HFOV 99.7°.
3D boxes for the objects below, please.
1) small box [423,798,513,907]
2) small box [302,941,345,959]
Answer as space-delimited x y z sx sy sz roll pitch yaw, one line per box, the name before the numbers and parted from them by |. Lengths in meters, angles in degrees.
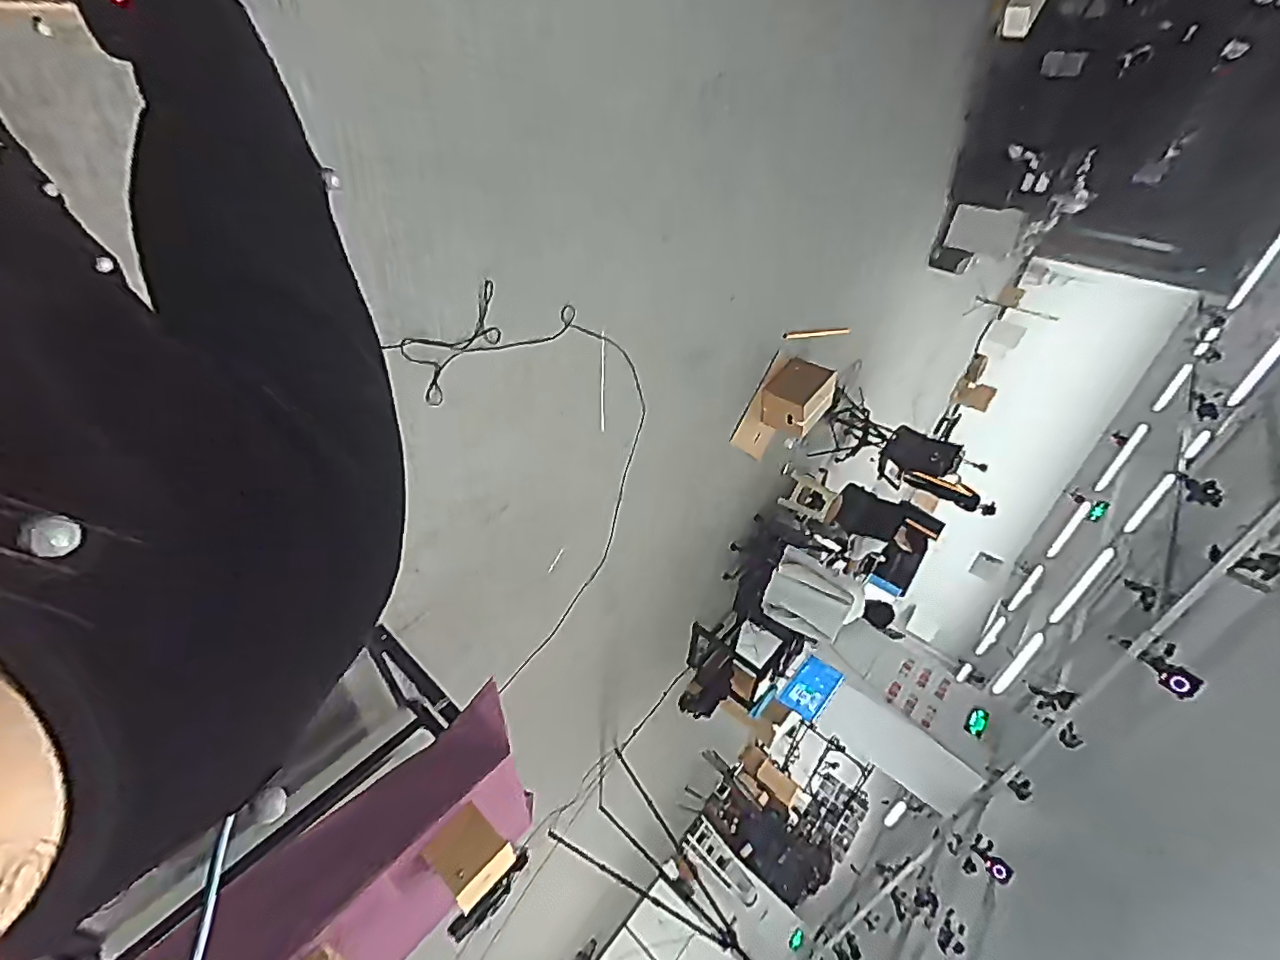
small box | -0.493 1.068 1.560 0.179 0.176 0.168 -34 142 -35
small box | -0.784 1.268 1.296 0.179 0.176 0.168 -34 141 -37
